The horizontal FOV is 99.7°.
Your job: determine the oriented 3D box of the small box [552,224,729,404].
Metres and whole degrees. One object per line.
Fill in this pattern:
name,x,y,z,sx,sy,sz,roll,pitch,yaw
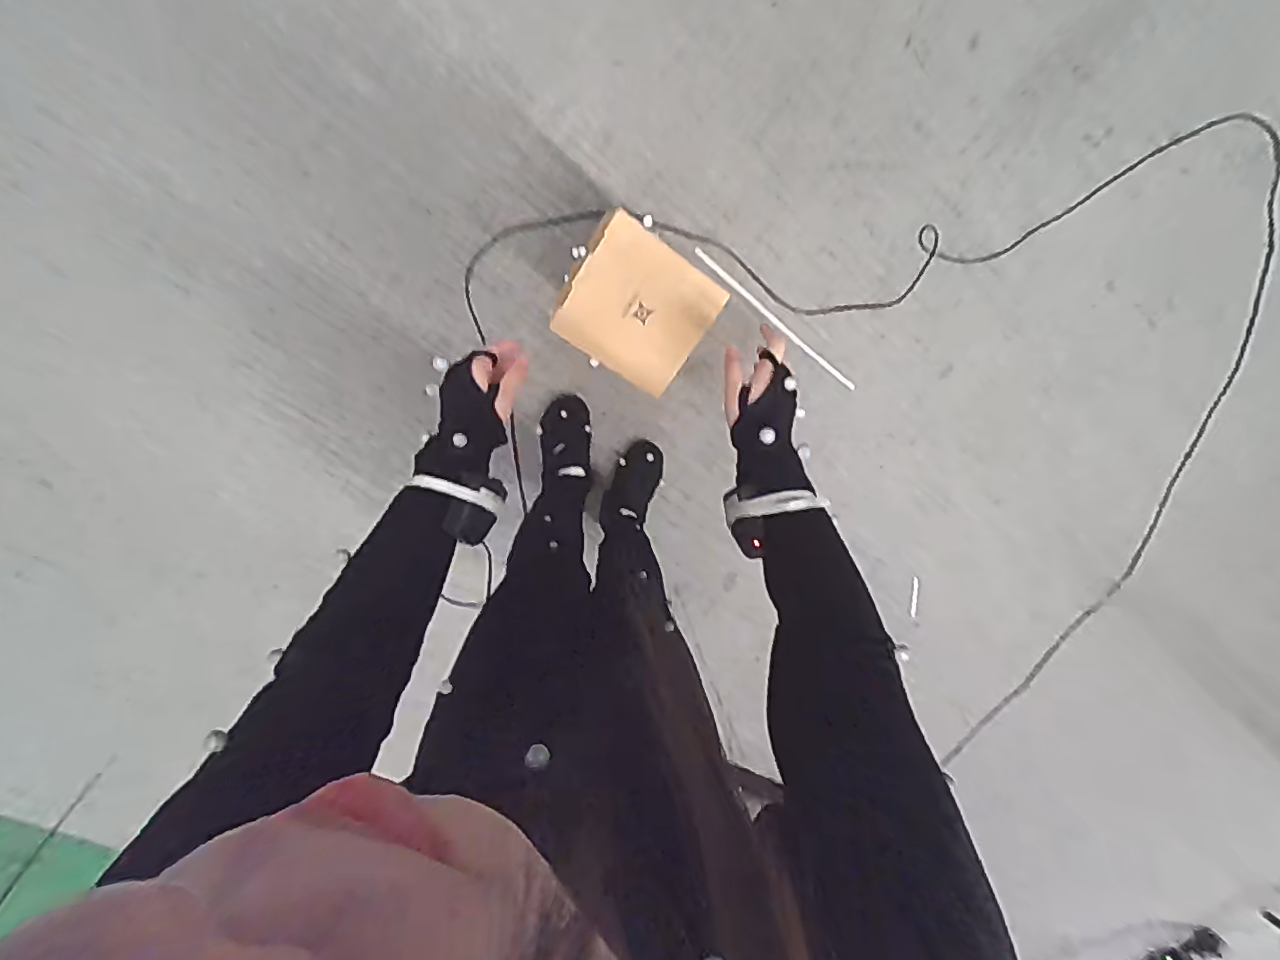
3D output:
small box,-0.002,-0.241,0.770,0.179,0.176,0.168,32,109,-15
